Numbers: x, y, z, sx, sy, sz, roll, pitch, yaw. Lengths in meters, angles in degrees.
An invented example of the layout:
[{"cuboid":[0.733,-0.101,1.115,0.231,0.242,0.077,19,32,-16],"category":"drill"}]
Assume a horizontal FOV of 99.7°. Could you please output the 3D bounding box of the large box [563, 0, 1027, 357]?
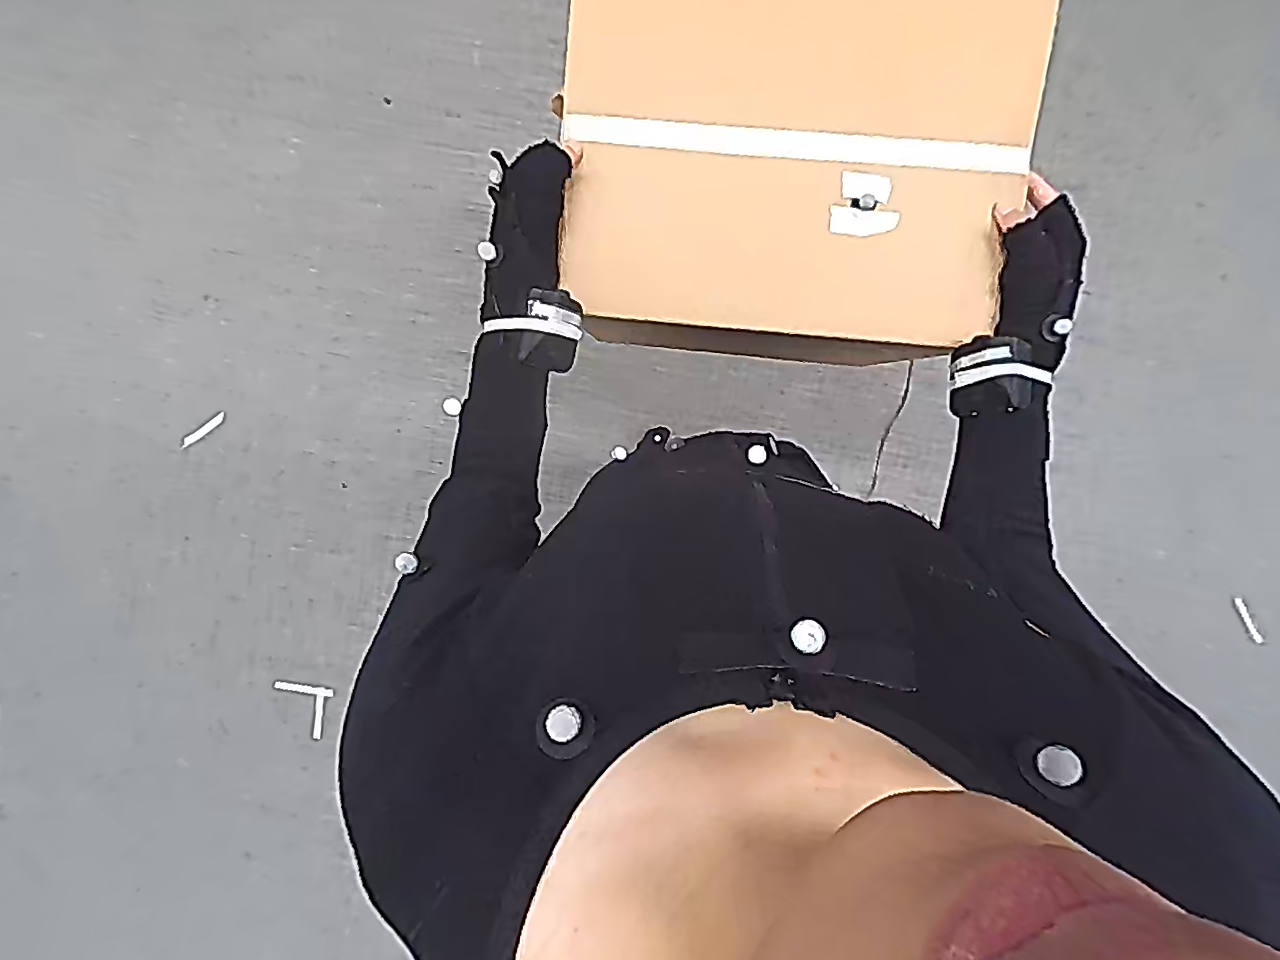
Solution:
[{"cuboid":[0.133,-0.322,0.641,0.408,0.320,0.320,5,100,1],"category":"large box"}]
